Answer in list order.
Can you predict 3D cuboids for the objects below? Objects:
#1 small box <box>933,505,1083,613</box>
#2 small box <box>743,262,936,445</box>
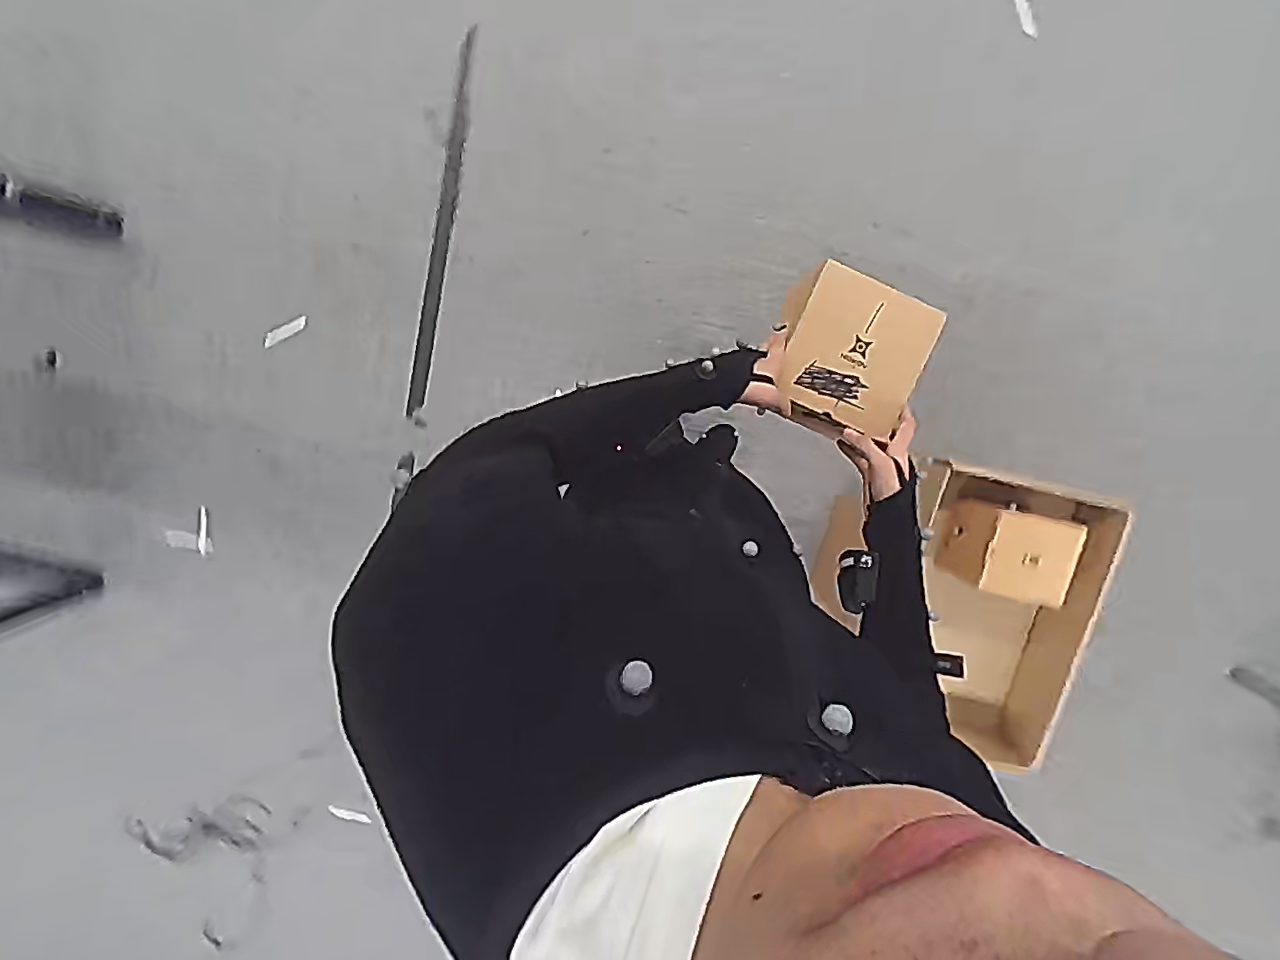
[{"bbox_3d":[0.765,0.158,1.143,0.179,0.176,0.168,12,99,0],"label":"small box"},{"bbox_3d":[0.253,-0.159,0.737,0.168,0.176,0.179,23,94,-2],"label":"small box"}]
